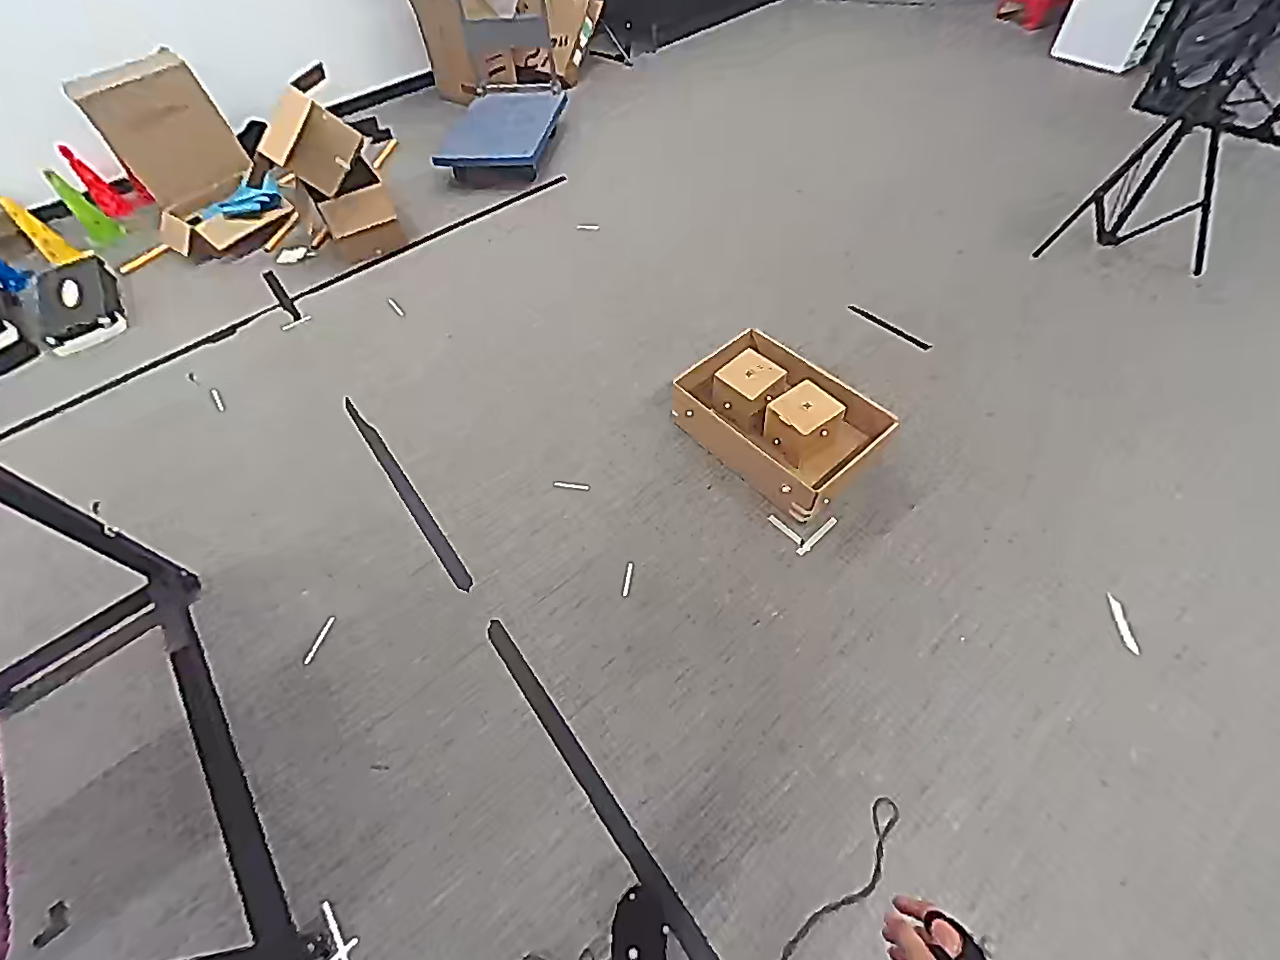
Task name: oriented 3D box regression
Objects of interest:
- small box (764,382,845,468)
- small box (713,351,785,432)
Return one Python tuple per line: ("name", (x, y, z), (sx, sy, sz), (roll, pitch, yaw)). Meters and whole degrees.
("small box", (0.516, -0.173, 1.724), (0.179, 0.176, 0.168), (-32, 57, -16))
("small box", (0.362, -0.293, 1.820), (0.179, 0.176, 0.168), (-38, 62, -20))
